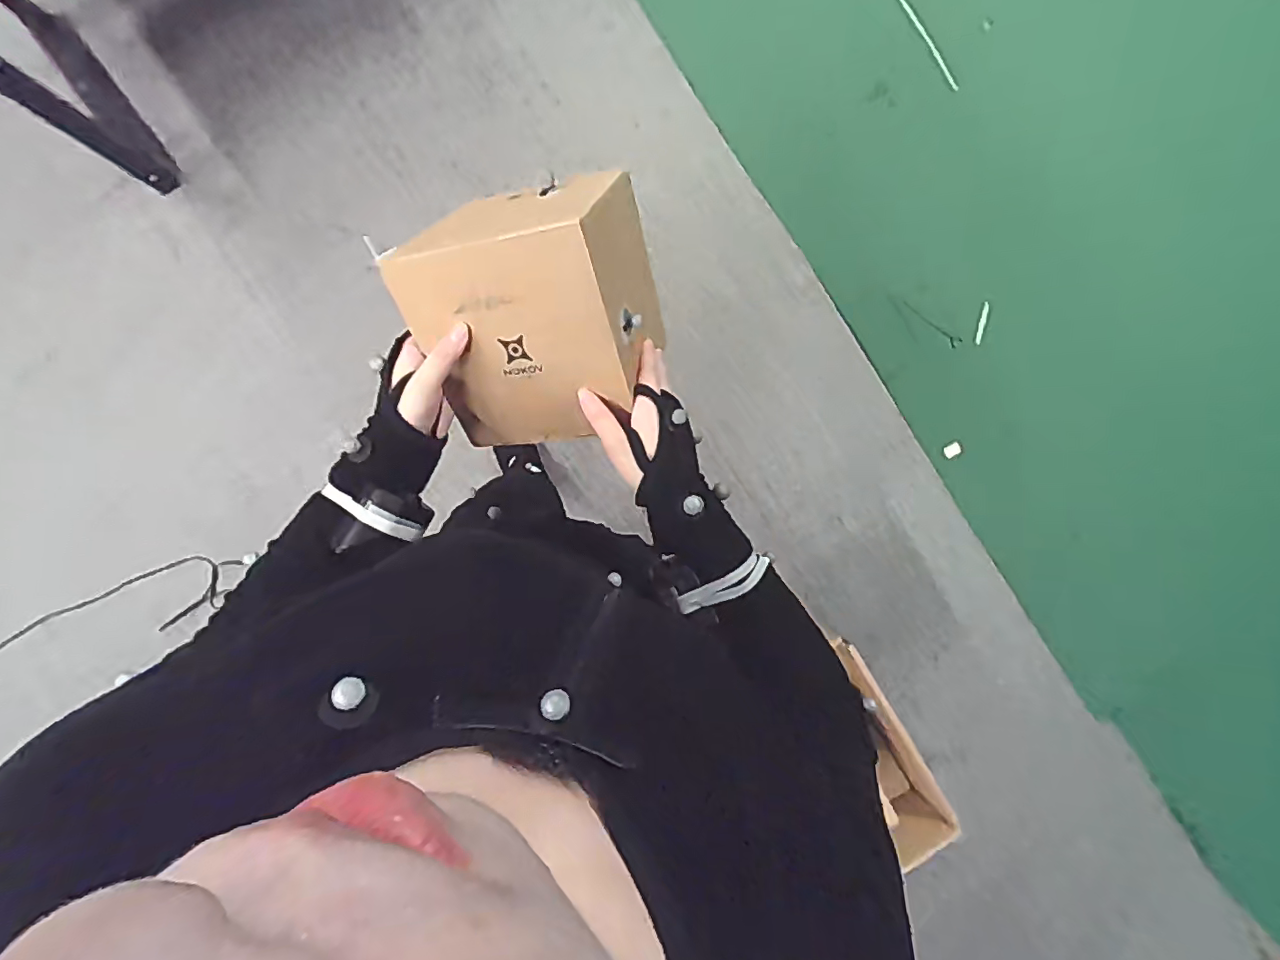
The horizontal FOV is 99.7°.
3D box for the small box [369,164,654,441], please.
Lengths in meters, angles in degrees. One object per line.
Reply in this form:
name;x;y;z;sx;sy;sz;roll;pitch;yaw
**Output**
small box;-0.091;-0.157;0.490;0.168;0.176;0.179;-3;130;16
